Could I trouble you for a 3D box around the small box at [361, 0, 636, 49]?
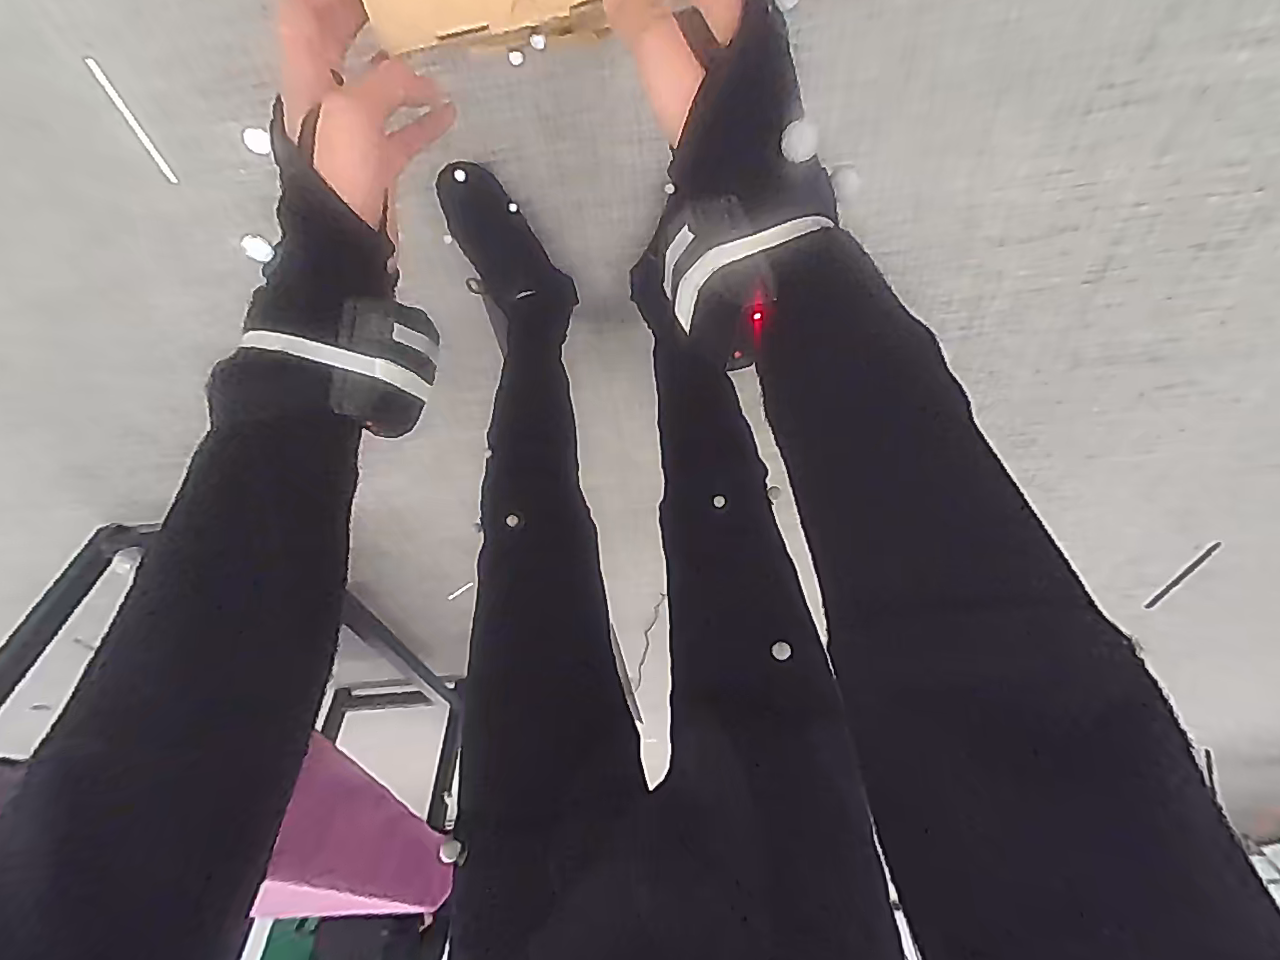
[{"bbox_3d":[-0.076,-0.359,0.287,0.168,0.176,0.179,-8,132,6],"label":"small box"}]
